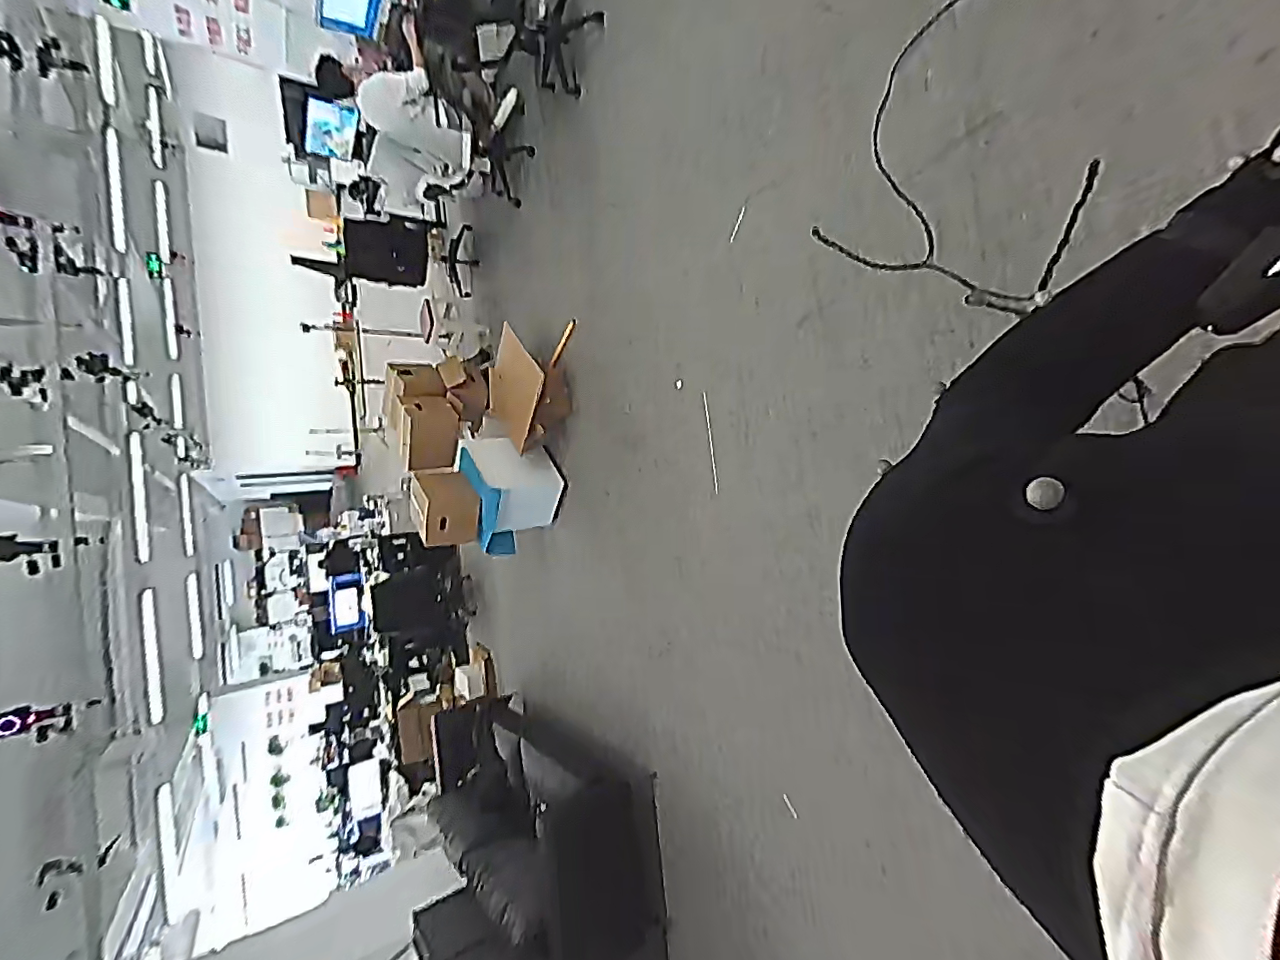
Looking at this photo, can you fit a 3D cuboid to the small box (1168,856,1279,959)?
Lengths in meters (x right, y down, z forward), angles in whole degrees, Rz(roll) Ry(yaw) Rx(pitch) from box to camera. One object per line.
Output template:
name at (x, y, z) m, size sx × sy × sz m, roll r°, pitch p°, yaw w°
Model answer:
small box at (1.105, 0.849, 0.991) m, size 0.168 × 0.176 × 0.179 m, roll -4°, pitch 91°, yaw 54°
